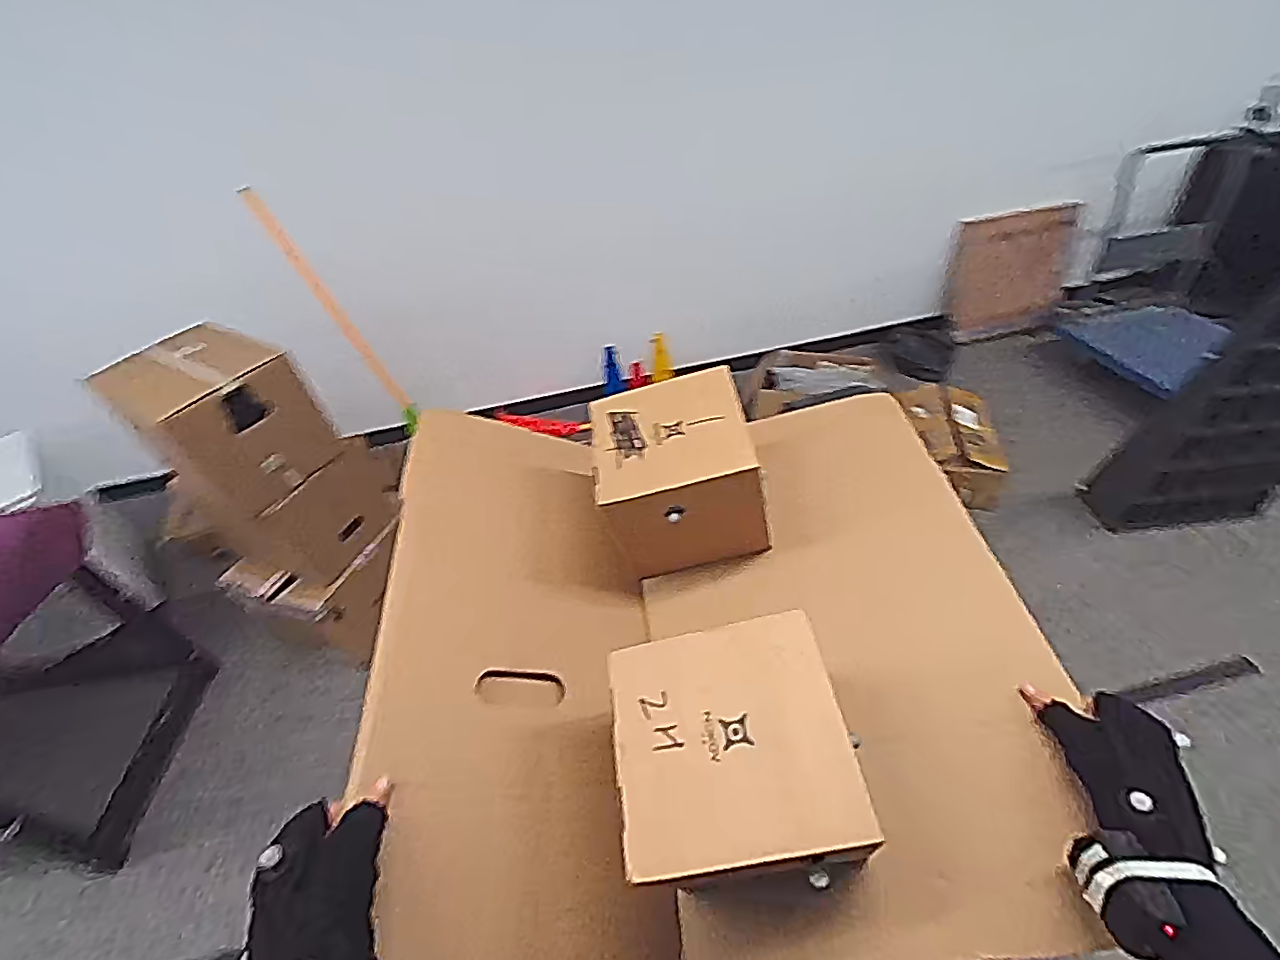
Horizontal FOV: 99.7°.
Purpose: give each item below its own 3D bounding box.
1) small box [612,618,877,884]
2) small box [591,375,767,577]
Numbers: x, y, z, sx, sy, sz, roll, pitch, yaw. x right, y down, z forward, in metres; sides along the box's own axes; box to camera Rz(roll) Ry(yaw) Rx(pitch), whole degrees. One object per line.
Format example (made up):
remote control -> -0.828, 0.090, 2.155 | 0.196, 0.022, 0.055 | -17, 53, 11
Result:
small box -> 0.087, 0.245, 0.478 | 0.179, 0.176, 0.168 | -15, 50, 9
small box -> 0.050, 0.003, 0.679 | 0.179, 0.176, 0.168 | -14, 50, 8
